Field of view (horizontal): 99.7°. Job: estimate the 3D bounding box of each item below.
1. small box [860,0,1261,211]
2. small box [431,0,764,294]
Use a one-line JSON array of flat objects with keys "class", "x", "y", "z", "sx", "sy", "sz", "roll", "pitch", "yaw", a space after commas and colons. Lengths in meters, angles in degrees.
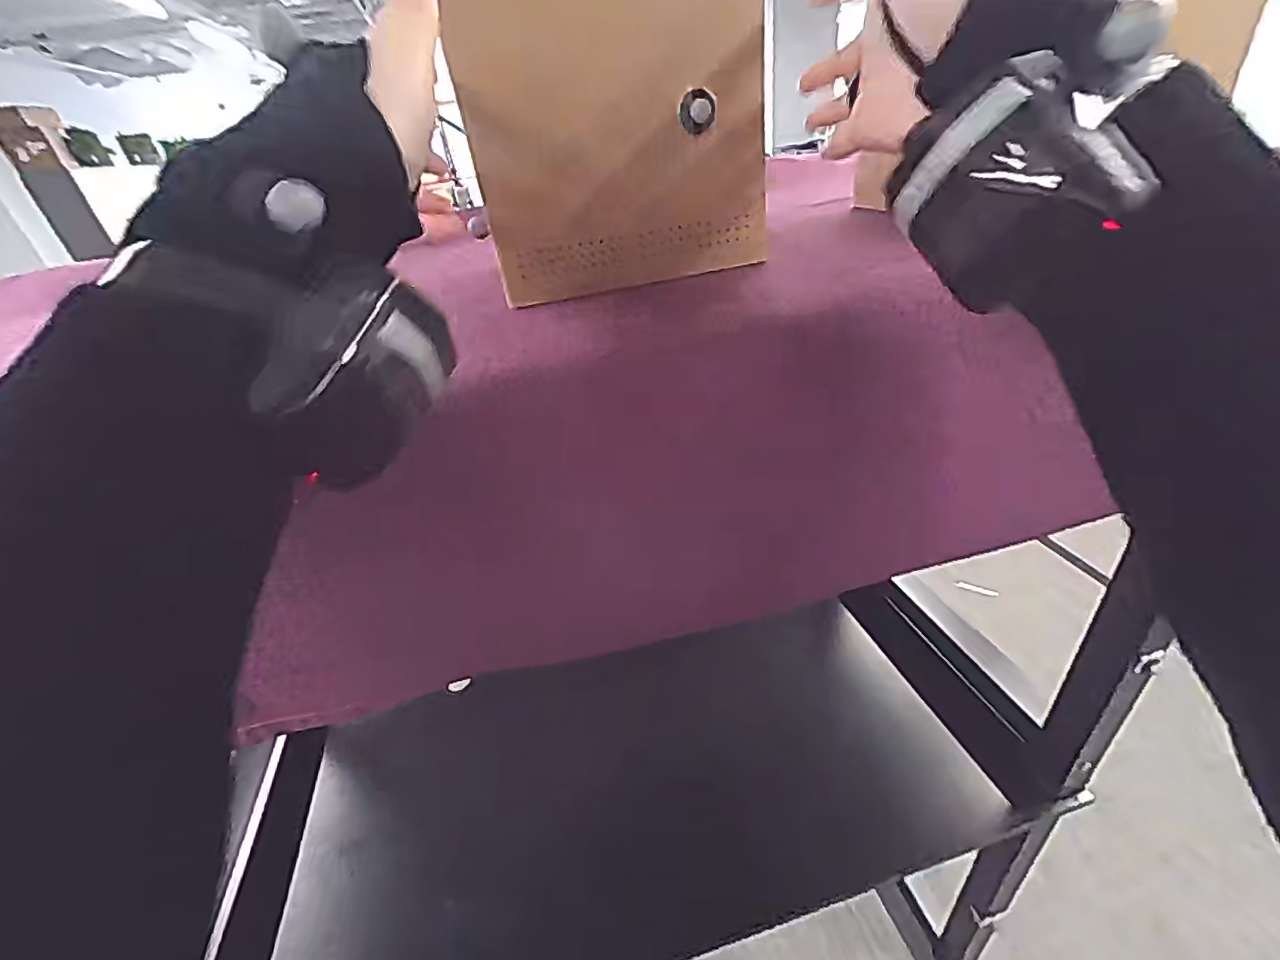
[{"class": "small box", "x": 0.283, "y": -0.306, "z": 0.390, "sx": 0.179, "sy": 0.176, "sz": 0.168, "roll": -13, "pitch": 32, "yaw": -7}, {"class": "small box", "x": -0.026, "y": -0.241, "z": 0.371, "sx": 0.179, "sy": 0.176, "sz": 0.168, "roll": -14, "pitch": 32, "yaw": -6}]
